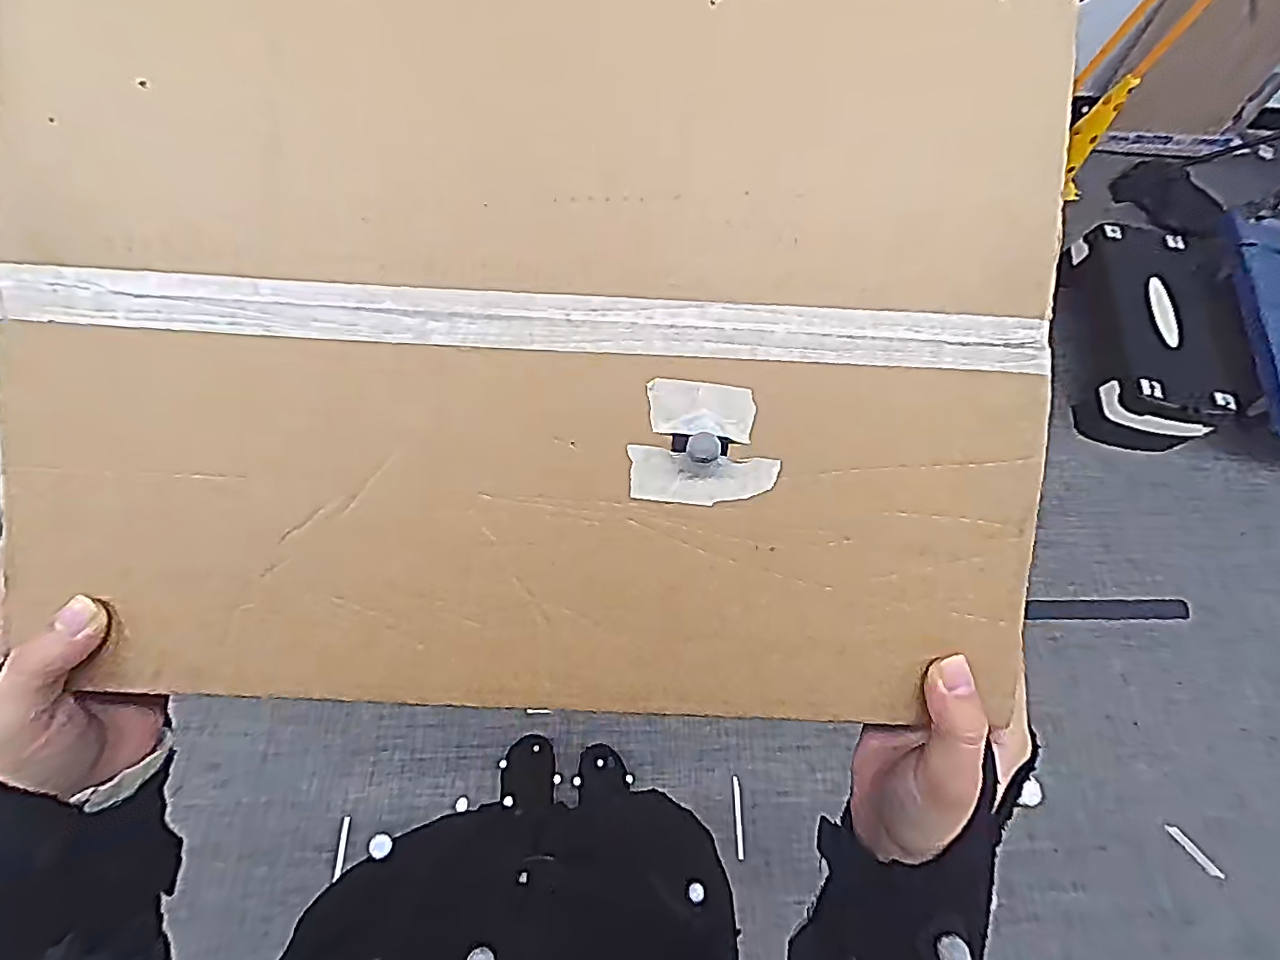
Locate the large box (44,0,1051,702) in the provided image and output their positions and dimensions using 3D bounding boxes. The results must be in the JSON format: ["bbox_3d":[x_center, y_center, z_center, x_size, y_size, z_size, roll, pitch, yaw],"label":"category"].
[{"bbox_3d":[-0.042,-0.069,0.370,0.408,0.320,0.320,3,95,-2],"label":"large box"}]
